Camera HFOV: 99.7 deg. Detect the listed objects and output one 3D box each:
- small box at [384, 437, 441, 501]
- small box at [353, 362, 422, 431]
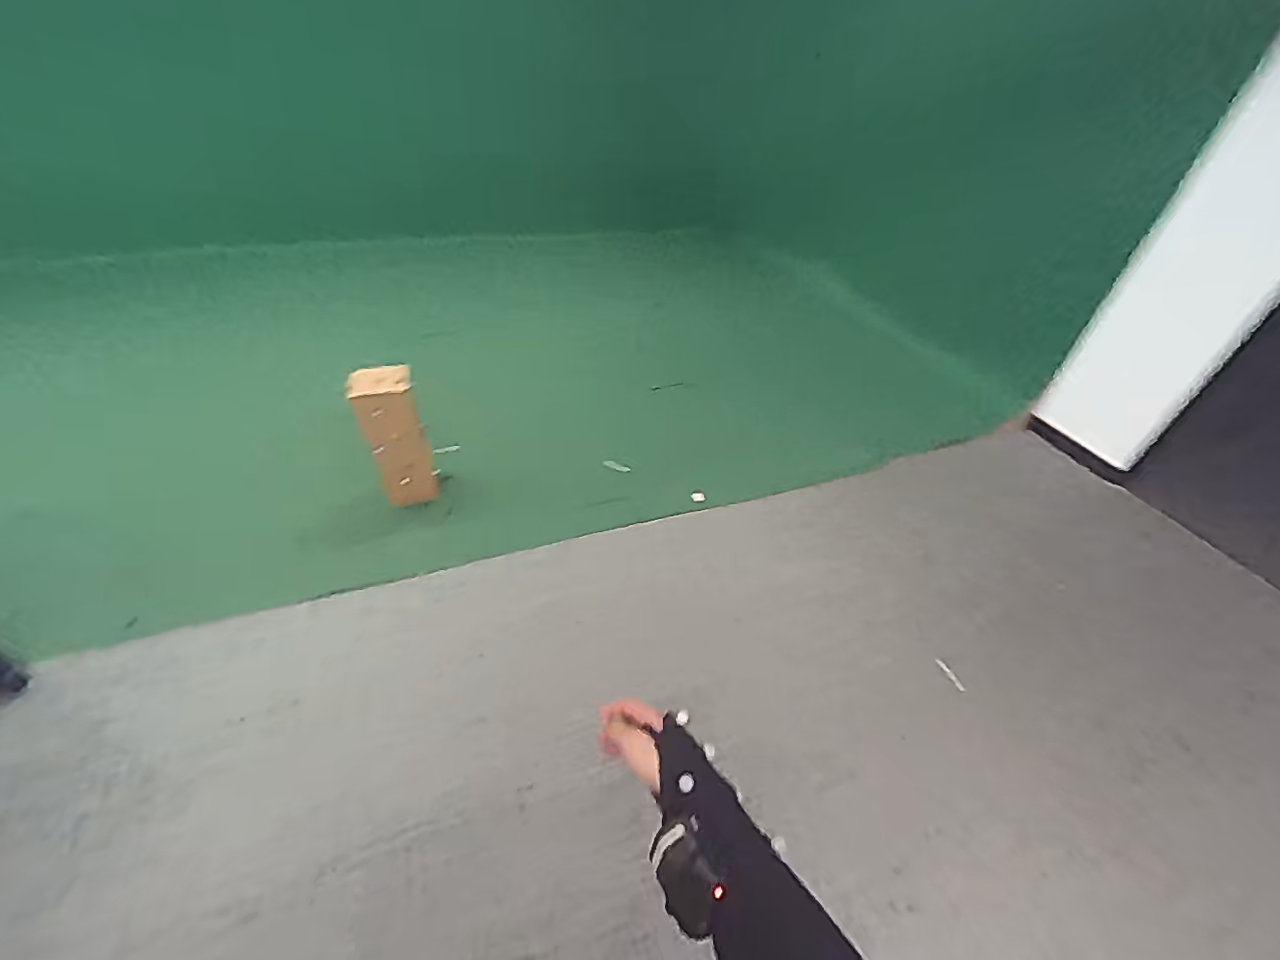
[{"bbox_3d":[-0.863,-0.040,2.063,0.179,0.176,0.168,-9,45,-14],"label":"small box"},{"bbox_3d":[-0.852,-0.281,1.839,0.179,0.176,0.168,-10,44,-15],"label":"small box"}]
